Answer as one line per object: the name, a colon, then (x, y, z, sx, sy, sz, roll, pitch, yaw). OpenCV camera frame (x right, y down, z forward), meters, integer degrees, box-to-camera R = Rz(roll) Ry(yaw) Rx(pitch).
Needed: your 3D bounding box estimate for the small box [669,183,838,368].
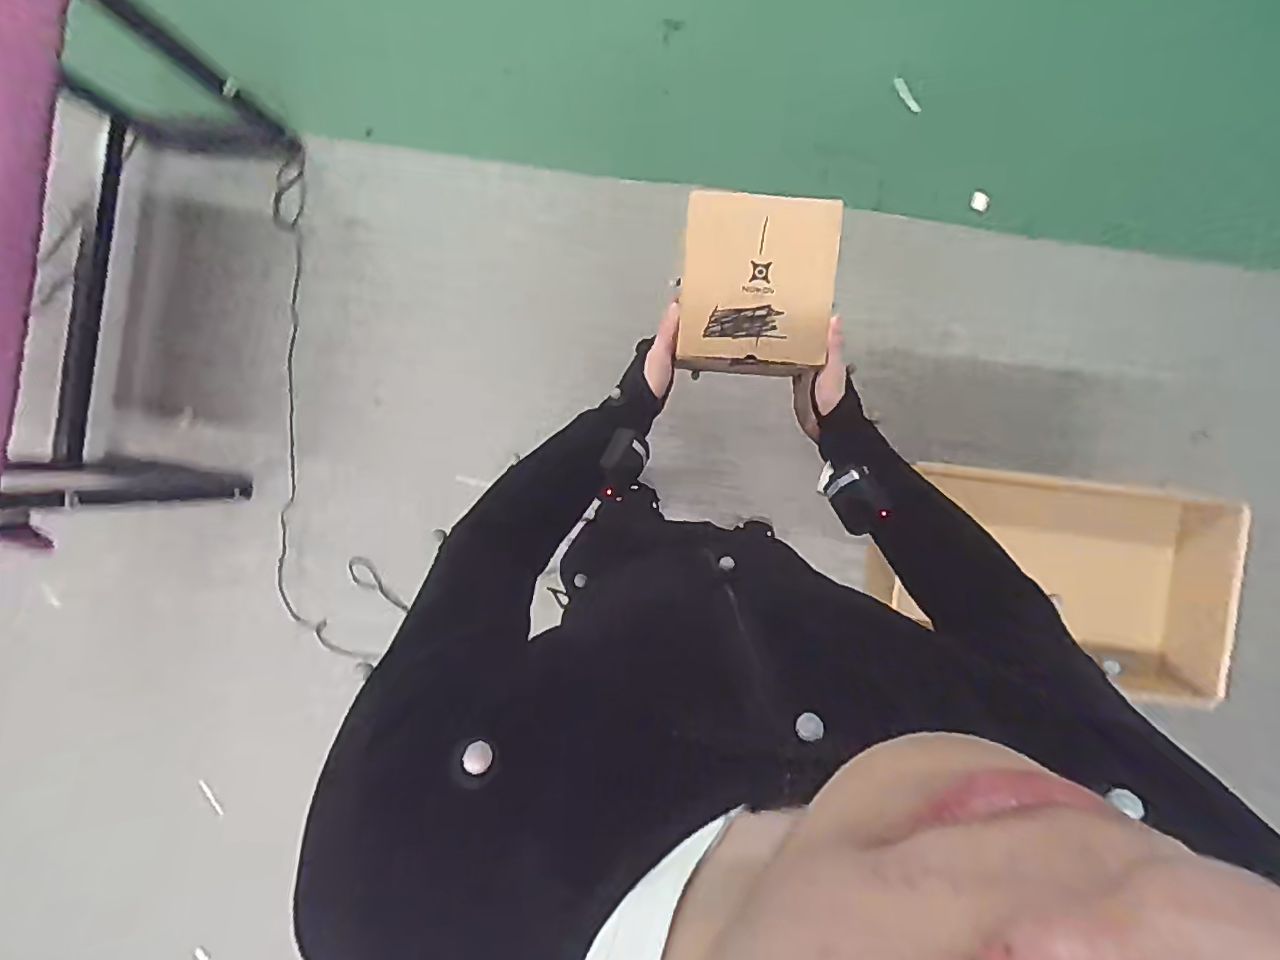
small box: (0.123, -0.230, 0.653, 0.168, 0.176, 0.179, 3, 97, 0)
